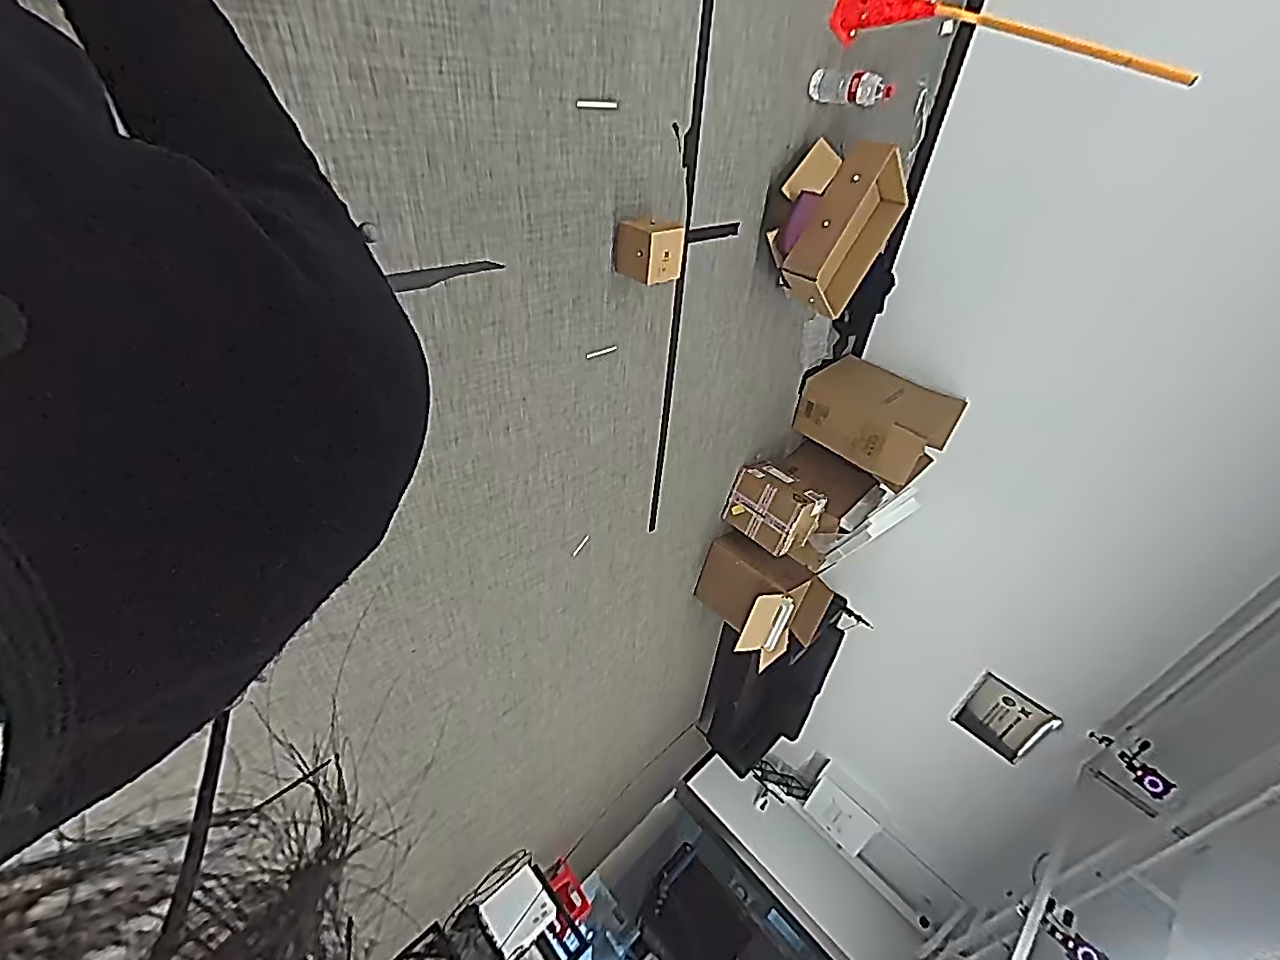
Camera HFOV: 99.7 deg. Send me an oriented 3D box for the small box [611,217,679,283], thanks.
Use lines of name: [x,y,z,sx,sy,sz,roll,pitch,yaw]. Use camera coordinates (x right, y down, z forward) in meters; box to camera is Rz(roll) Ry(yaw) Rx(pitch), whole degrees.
small box: [0.013,-0.820,1.912,0.168,0.176,0.179,-27,139,-35]
